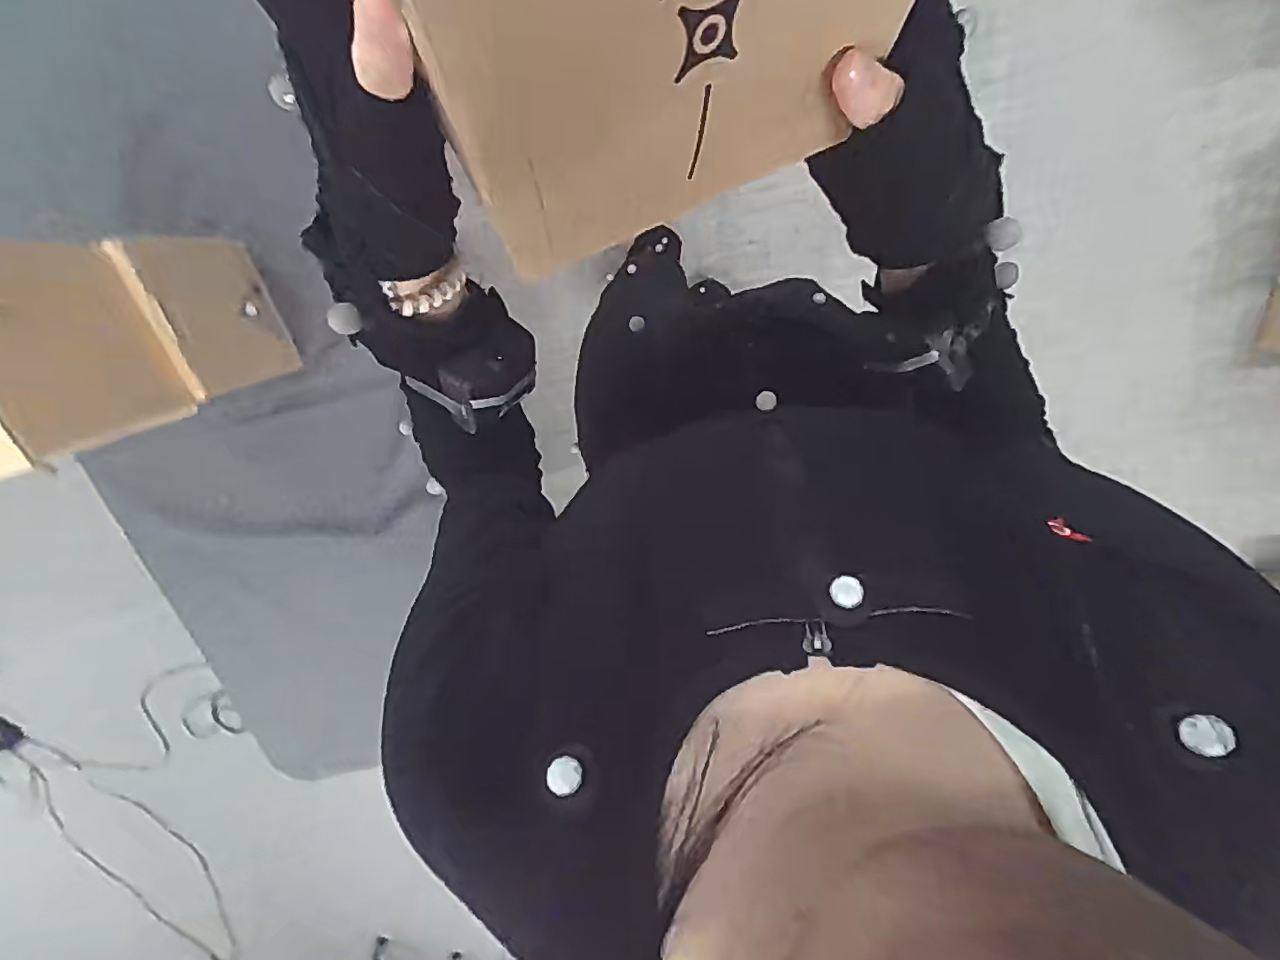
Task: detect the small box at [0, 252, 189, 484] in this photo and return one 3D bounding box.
[{"bbox_3d":[-0.582,-0.097,0.494,0.168,0.176,0.179,-14,110,10],"label":"small box"}]

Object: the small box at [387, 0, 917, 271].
[{"bbox_3d":[-0.011,-0.212,0.170,0.168,0.179,0.176,-26,79,-6],"label":"small box"}]

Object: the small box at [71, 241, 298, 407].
[{"bbox_3d":[-0.561,-0.171,0.639,0.179,0.176,0.168,-13,111,10],"label":"small box"}]
